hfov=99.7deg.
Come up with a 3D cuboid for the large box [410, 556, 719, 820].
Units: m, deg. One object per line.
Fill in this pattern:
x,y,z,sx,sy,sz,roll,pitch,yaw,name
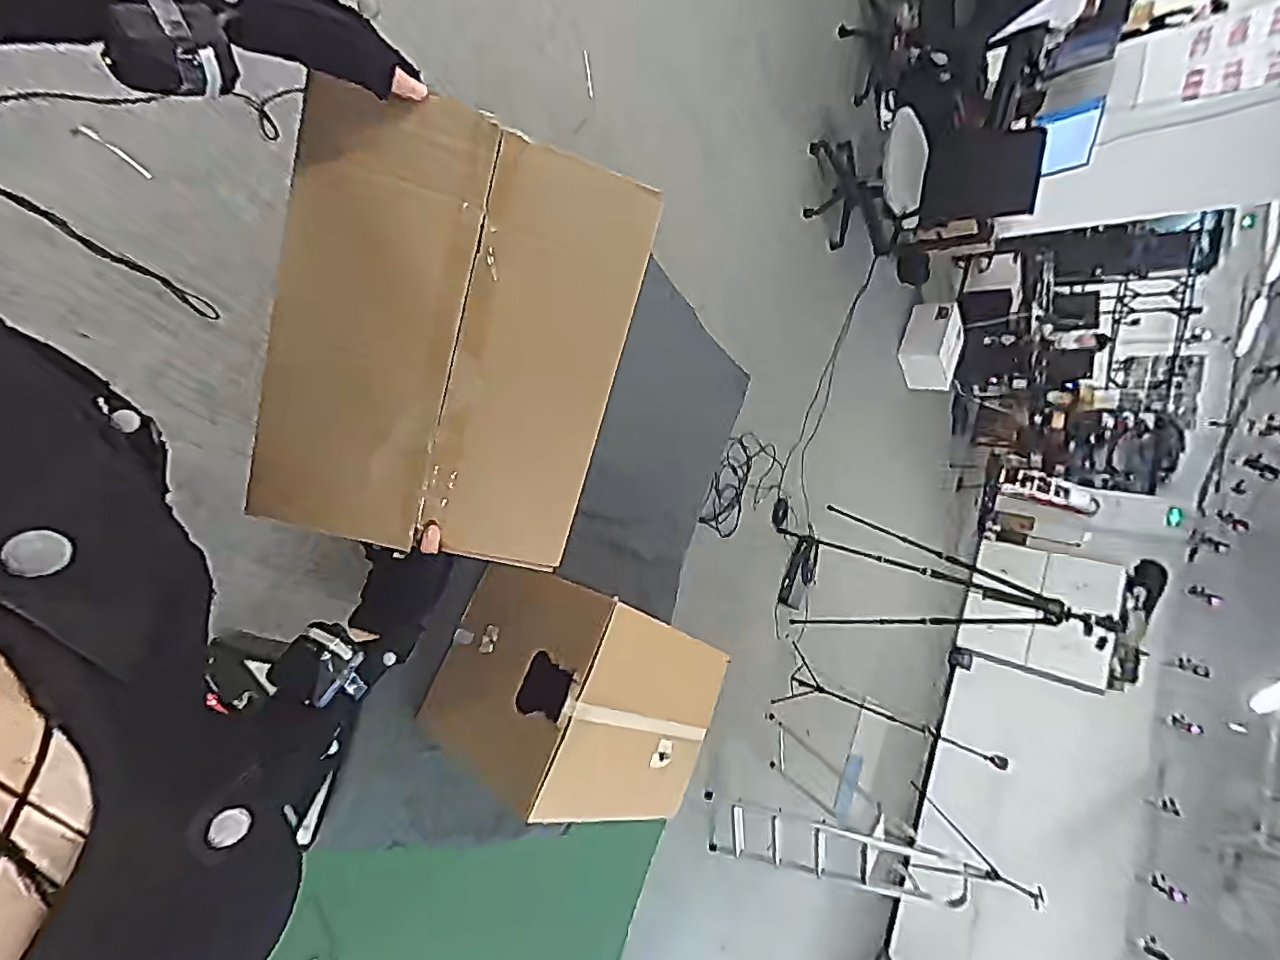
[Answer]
-0.114,0.368,0.977,0.408,0.320,0.320,41,67,-48,large box
